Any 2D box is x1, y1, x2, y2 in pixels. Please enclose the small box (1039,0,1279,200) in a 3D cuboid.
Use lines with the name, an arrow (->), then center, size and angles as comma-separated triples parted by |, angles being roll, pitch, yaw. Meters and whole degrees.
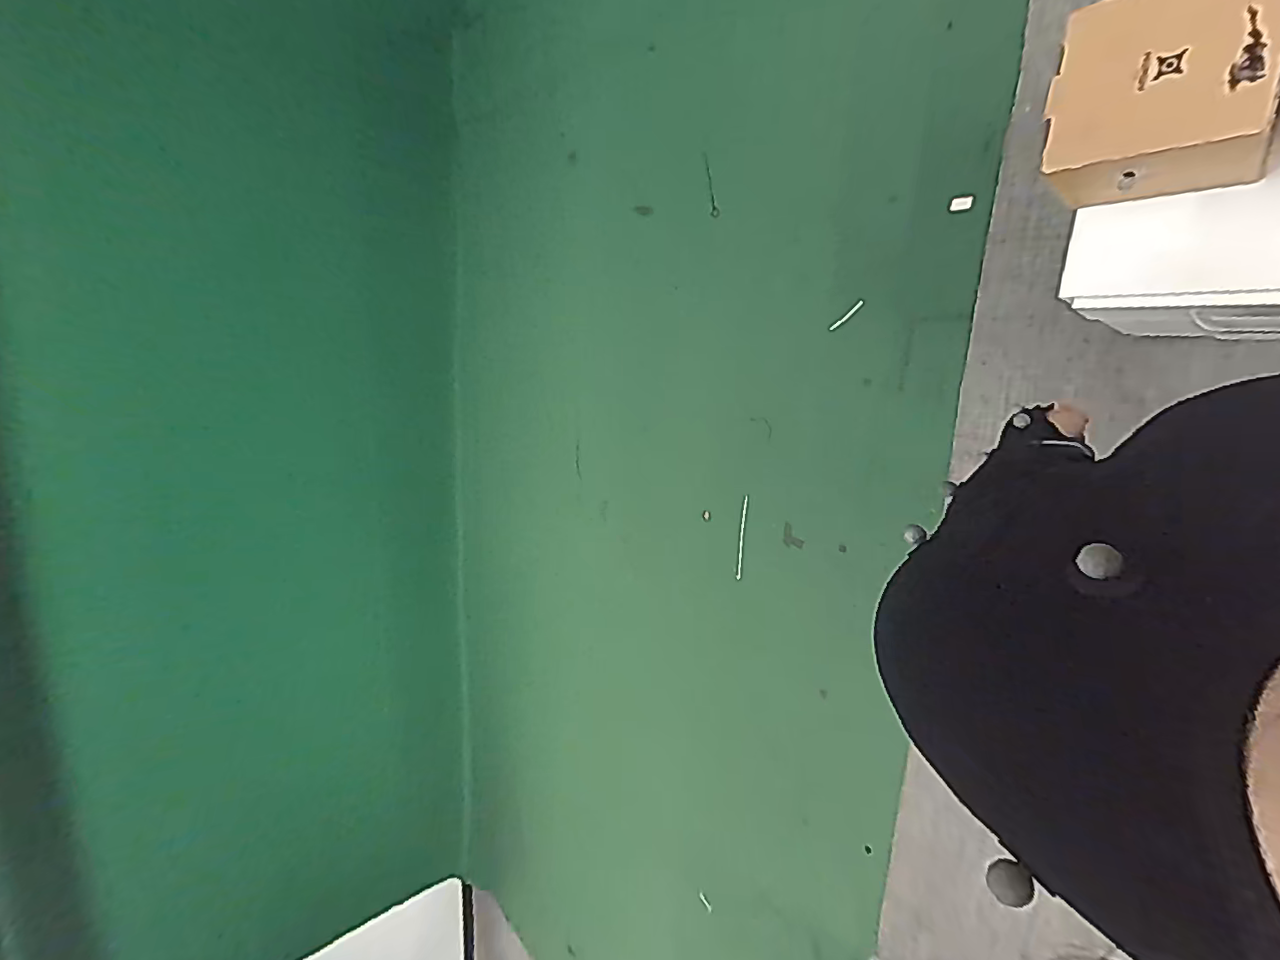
small box -> 0.584, -0.430, 0.600 | 0.179, 0.176, 0.168 | 15, 107, 46
